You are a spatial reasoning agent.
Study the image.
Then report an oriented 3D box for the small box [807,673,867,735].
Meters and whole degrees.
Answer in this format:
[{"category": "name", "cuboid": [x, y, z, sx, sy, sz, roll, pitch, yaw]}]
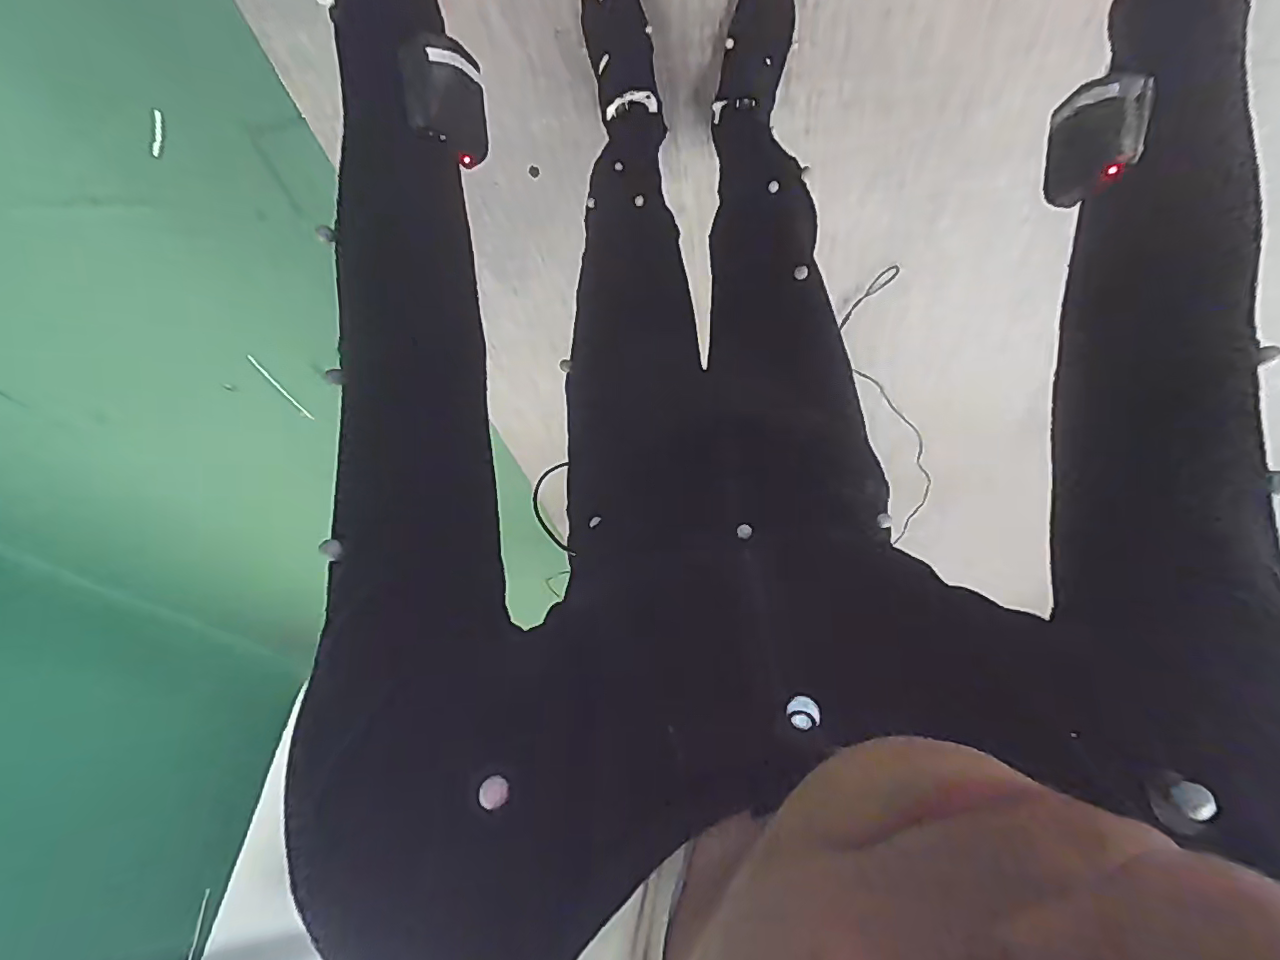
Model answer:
[{"category": "small box", "cuboid": [0.681, 0.782, 1.886, 0.168, 0.176, 0.179, -4, 146, 10]}]
